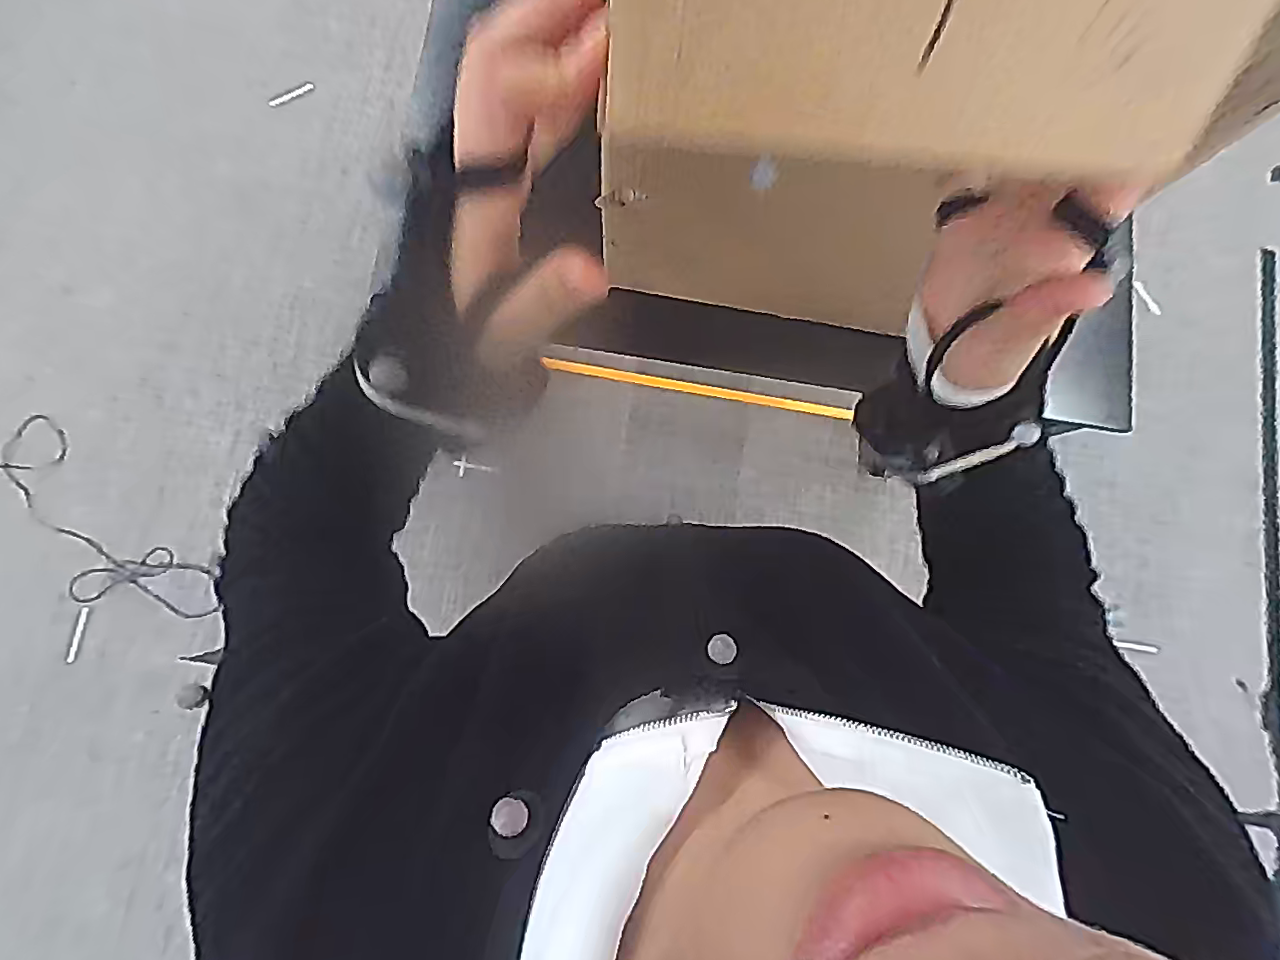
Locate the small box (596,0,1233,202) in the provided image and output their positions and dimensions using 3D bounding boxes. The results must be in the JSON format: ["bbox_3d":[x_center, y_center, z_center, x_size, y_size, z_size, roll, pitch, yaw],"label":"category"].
[{"bbox_3d":[0.072,-0.204,0.183,0.168,0.176,0.179,2,122,-6],"label":"small box"}]
